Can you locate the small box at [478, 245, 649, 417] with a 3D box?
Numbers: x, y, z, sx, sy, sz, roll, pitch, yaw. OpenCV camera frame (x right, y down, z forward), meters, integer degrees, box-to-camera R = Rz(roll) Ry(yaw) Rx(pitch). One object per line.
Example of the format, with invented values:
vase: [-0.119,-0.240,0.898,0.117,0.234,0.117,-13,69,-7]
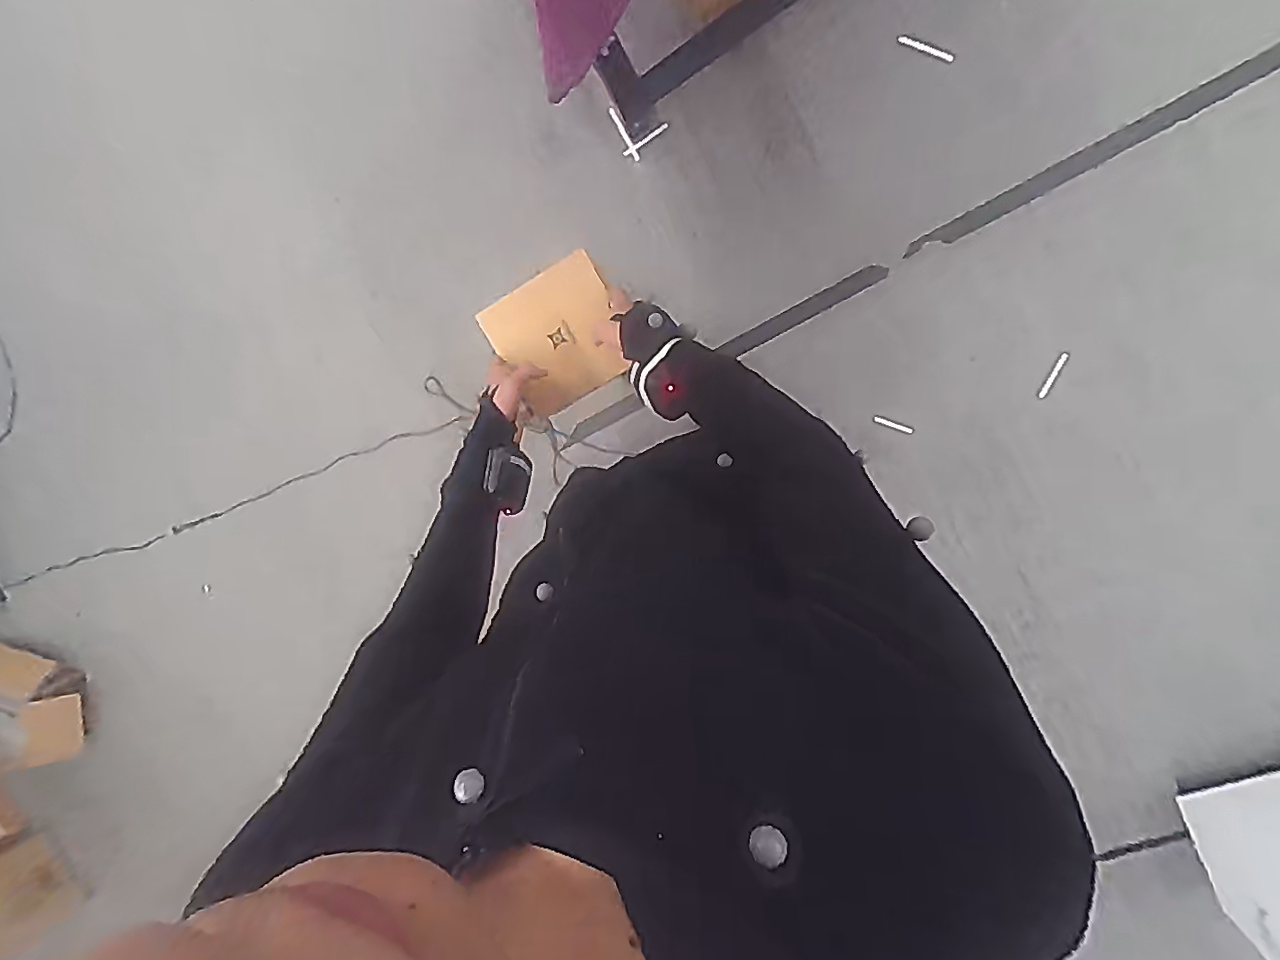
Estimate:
small box: [-0.099,-0.212,0.794,0.179,0.176,0.168,-28,101,9]
